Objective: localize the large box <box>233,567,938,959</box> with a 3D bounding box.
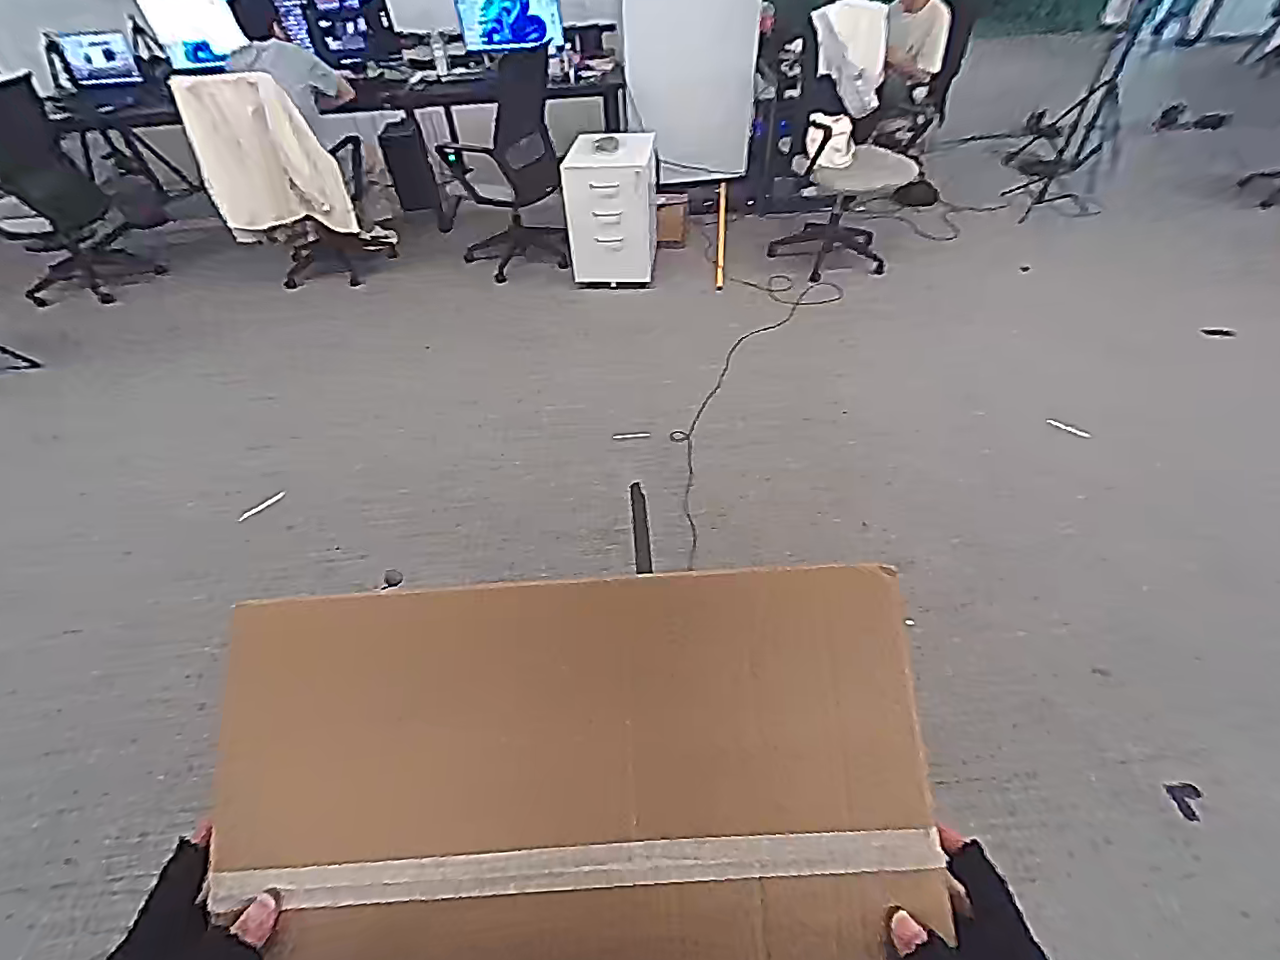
[{"bbox_3d":[-0.033,0.248,0.460,0.408,0.320,0.320,-3,80,1],"label":"large box"}]
